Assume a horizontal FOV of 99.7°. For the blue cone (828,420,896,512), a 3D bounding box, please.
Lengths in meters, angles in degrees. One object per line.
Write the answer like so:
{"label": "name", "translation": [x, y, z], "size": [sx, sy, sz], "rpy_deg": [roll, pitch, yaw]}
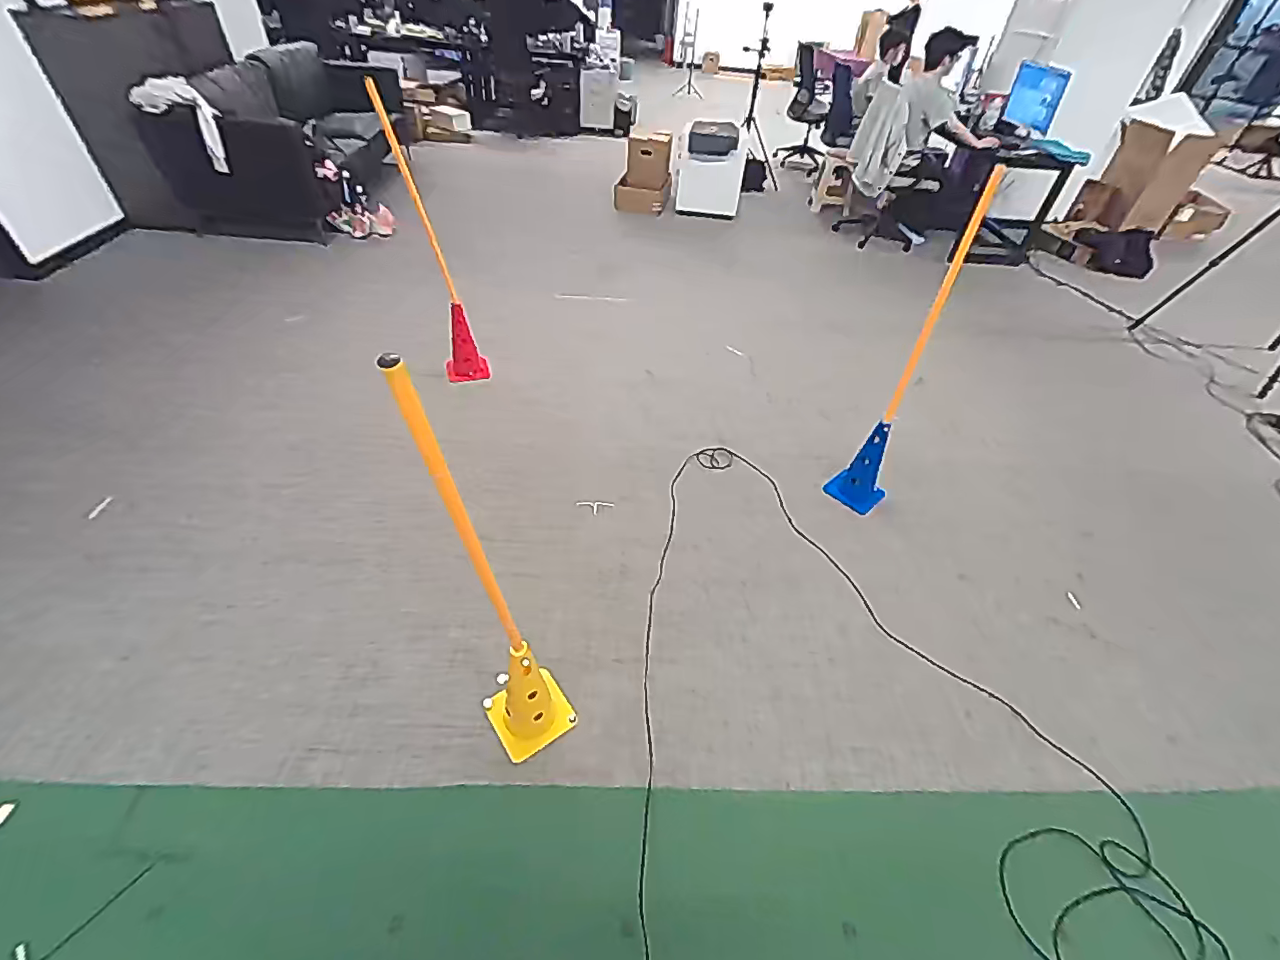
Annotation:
{"label": "blue cone", "translation": [0.899, -0.077, 2.114], "size": [0.192, 0.380, 0.193], "rpy_deg": [36, 49, 29]}
